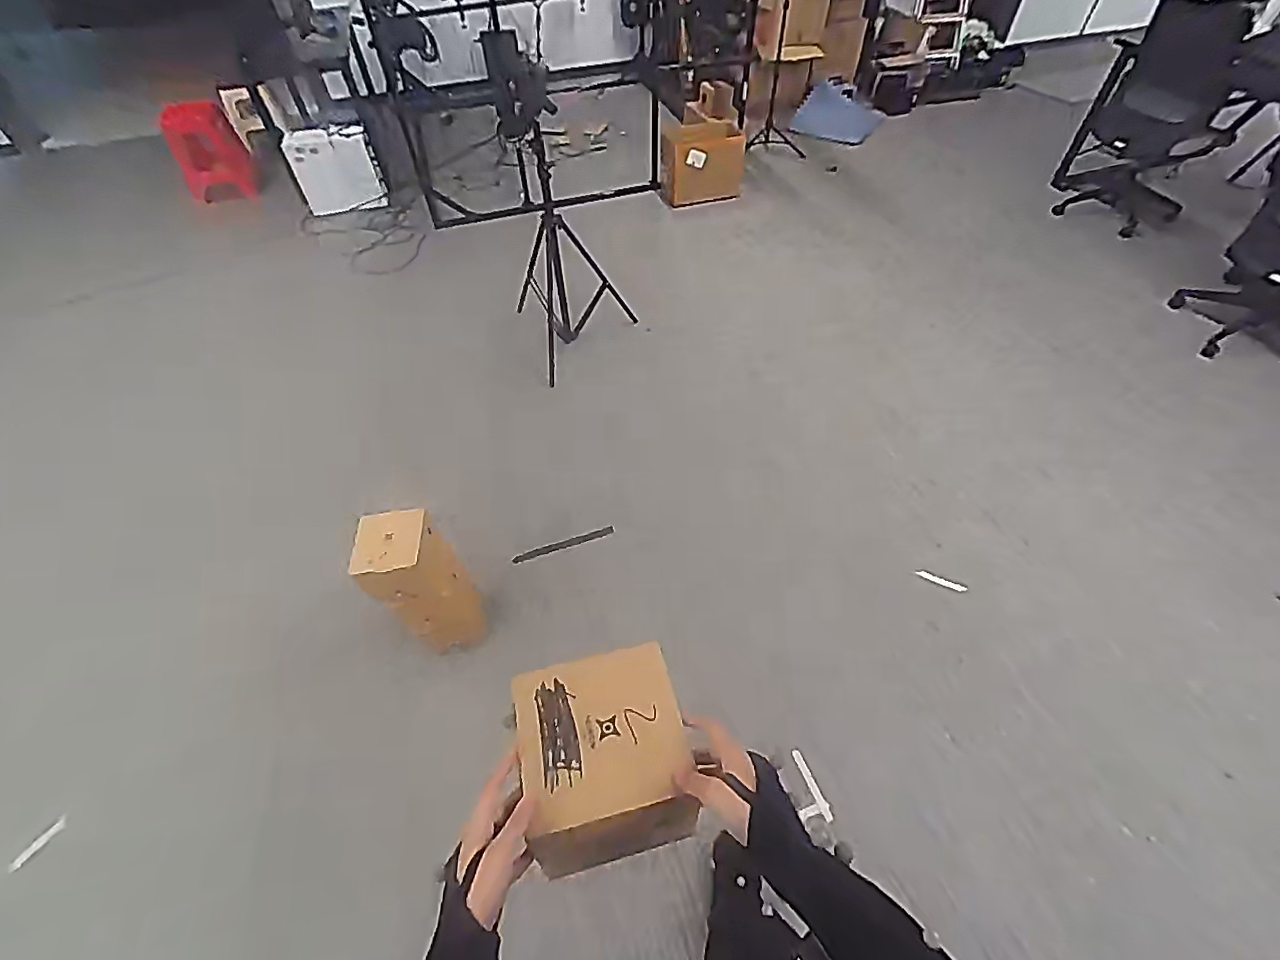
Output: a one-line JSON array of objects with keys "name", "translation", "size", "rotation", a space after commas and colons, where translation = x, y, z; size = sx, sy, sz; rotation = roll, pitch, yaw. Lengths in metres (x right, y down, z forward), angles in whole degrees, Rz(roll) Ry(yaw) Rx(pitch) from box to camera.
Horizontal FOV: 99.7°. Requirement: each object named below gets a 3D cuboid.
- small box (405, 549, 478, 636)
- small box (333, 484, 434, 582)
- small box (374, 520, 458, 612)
[{"name": "small box", "translation": [-0.592, 0.337, 1.613], "size": [0.168, 0.176, 0.179], "rotation": [-14, 53, -8]}, {"name": "small box", "translation": [-0.632, 0.135, 1.359], "size": [0.168, 0.176, 0.179], "rotation": [-7, 53, -2]}, {"name": "small box", "translation": [-0.608, 0.238, 1.486], "size": [0.168, 0.176, 0.179], "rotation": [-12, 53, -6]}]
